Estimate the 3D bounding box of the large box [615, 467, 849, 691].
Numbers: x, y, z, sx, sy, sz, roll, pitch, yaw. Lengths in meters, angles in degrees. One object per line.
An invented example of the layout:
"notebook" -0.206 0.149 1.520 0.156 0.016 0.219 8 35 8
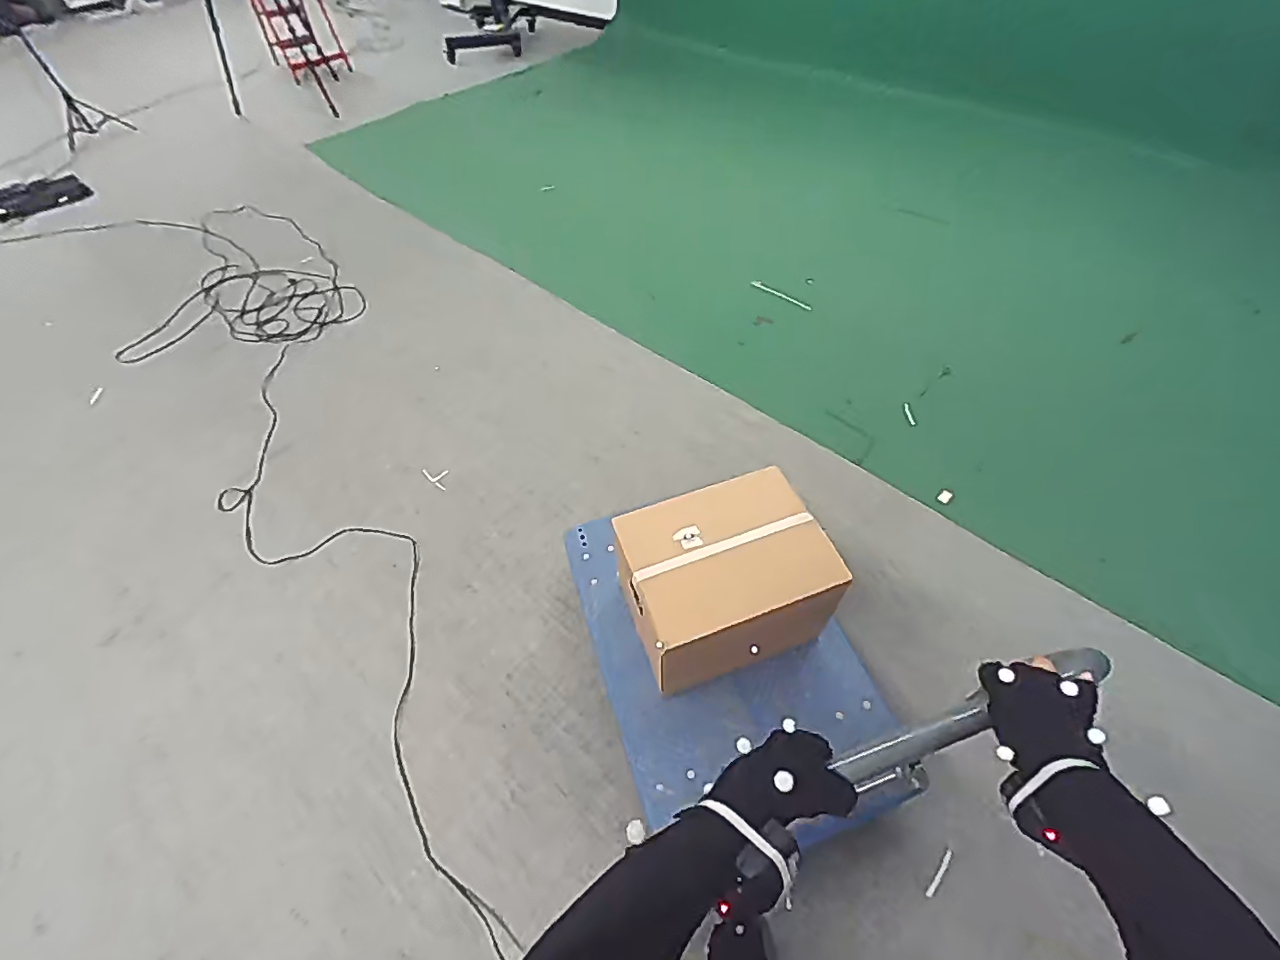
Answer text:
"large box" 0.189 0.230 1.244 0.408 0.320 0.320 -19 54 -10
